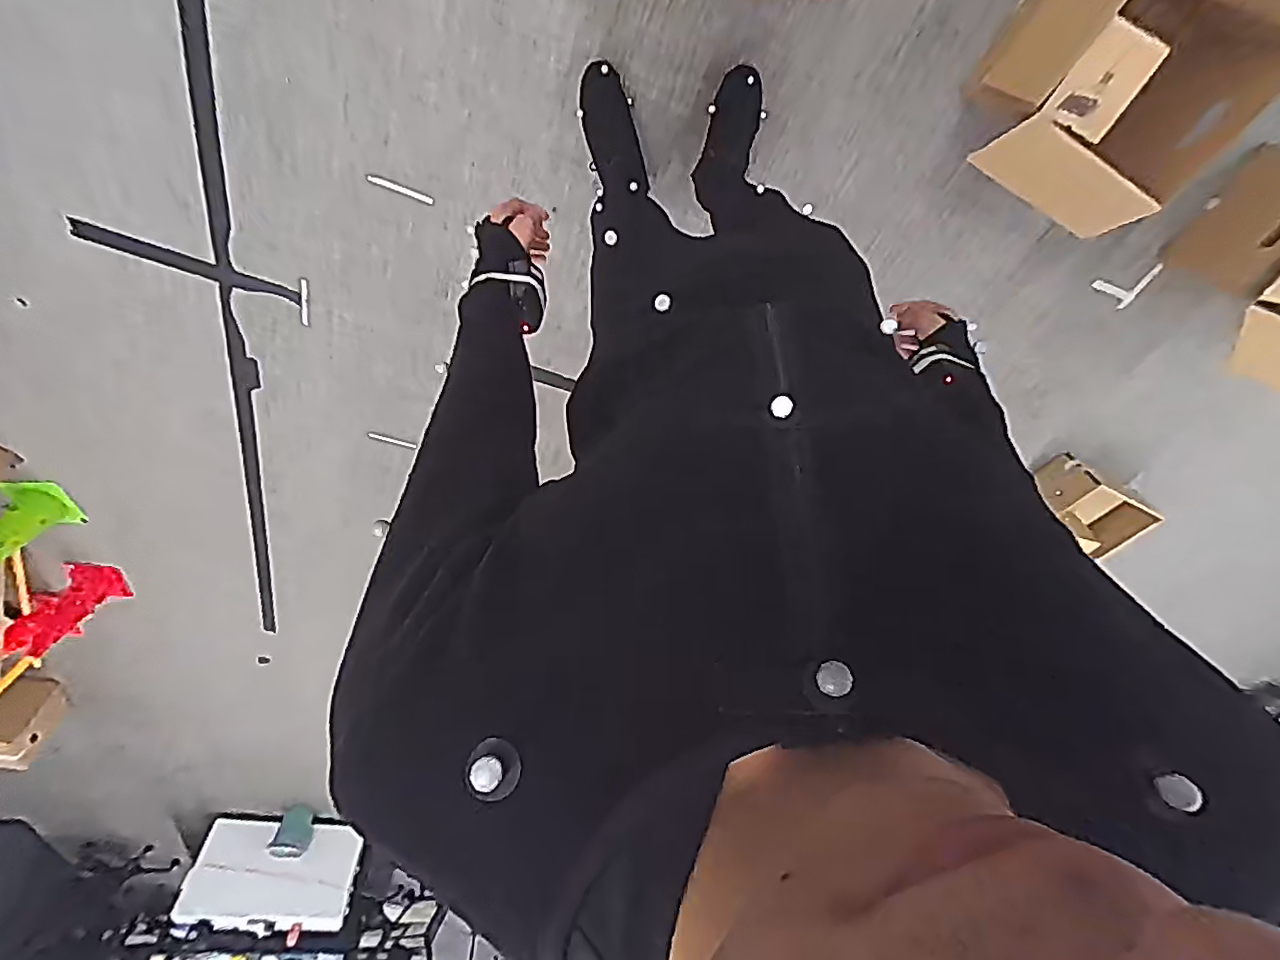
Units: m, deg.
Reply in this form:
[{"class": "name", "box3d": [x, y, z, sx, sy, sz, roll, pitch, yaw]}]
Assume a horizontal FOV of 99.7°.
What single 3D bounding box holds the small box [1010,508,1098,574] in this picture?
[{"class": "small box", "box3d": [1.591, 0.232, 2.089, 0.179, 0.176, 0.168, 15, 130, -16]}]
